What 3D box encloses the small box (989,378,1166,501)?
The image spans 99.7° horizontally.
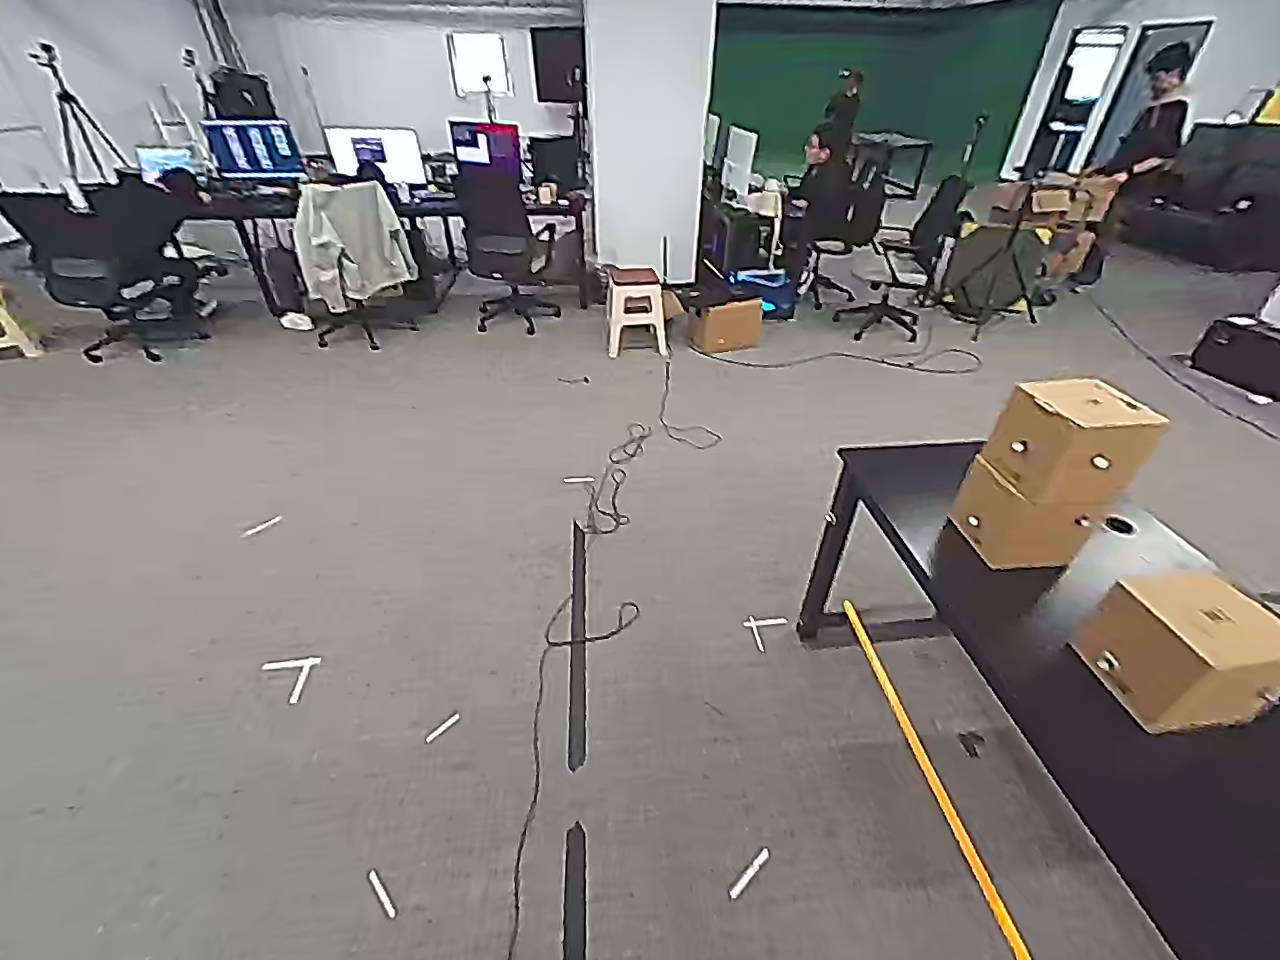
[{"bbox_3d":[0.793,-0.074,1.010,0.179,0.176,0.168,-5,37,-6],"label":"small box"}]

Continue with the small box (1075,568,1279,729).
[{"bbox_3d":[0.843,0.261,0.841,0.179,0.176,0.168,-5,36,-6],"label":"small box"}]

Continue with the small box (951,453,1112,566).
[{"bbox_3d":[0.783,0.059,1.106,0.179,0.176,0.168,-3,37,-4],"label":"small box"}]
